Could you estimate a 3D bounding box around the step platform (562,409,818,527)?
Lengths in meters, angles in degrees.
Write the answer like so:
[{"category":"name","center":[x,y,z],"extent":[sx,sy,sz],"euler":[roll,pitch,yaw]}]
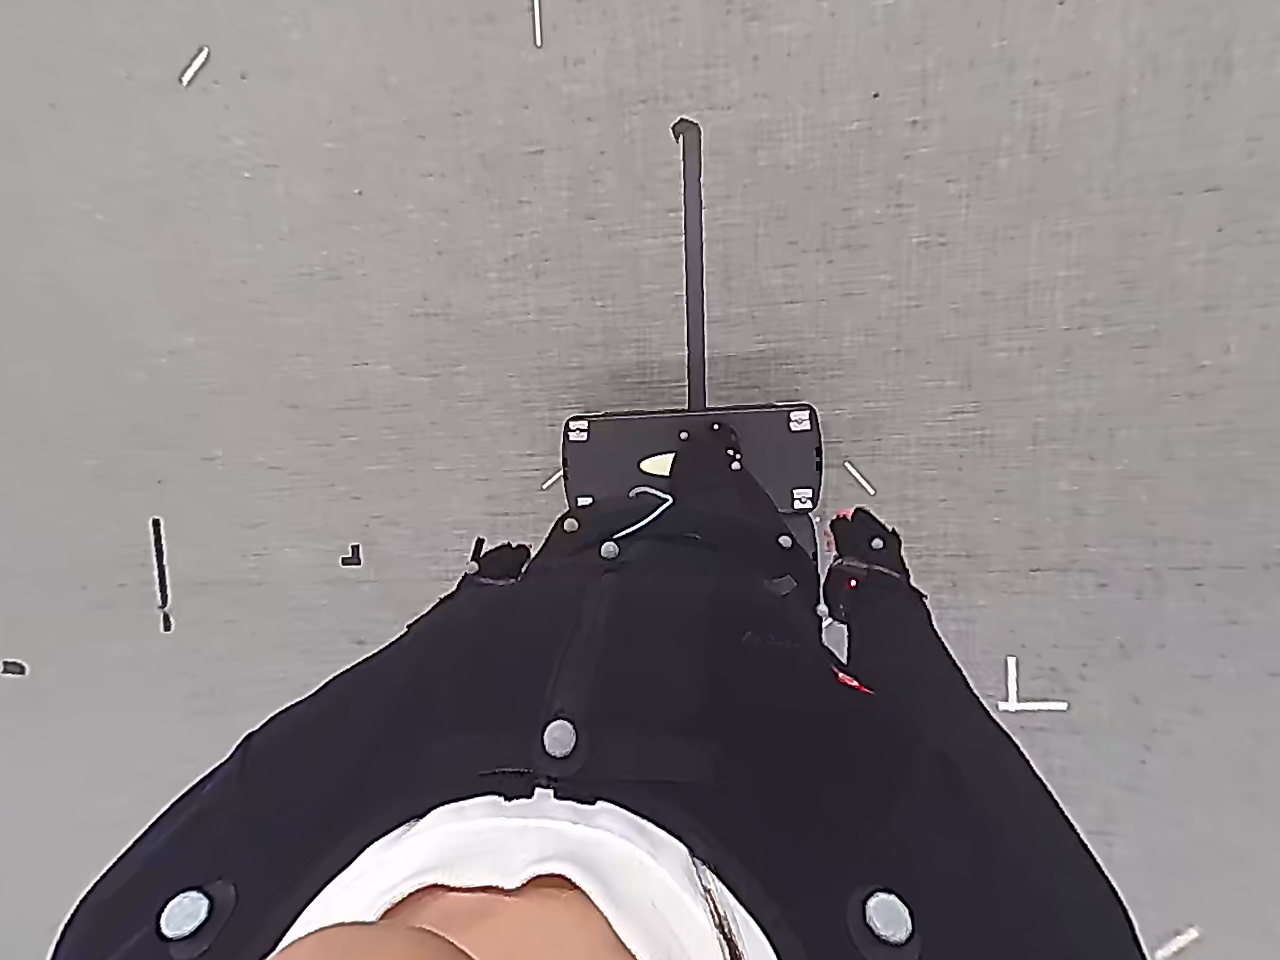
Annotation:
[{"category":"step platform","center":[0.130,-0.031,1.479],"extent":[0.684,0.204,0.286],"euler":[-3,97,8]}]
